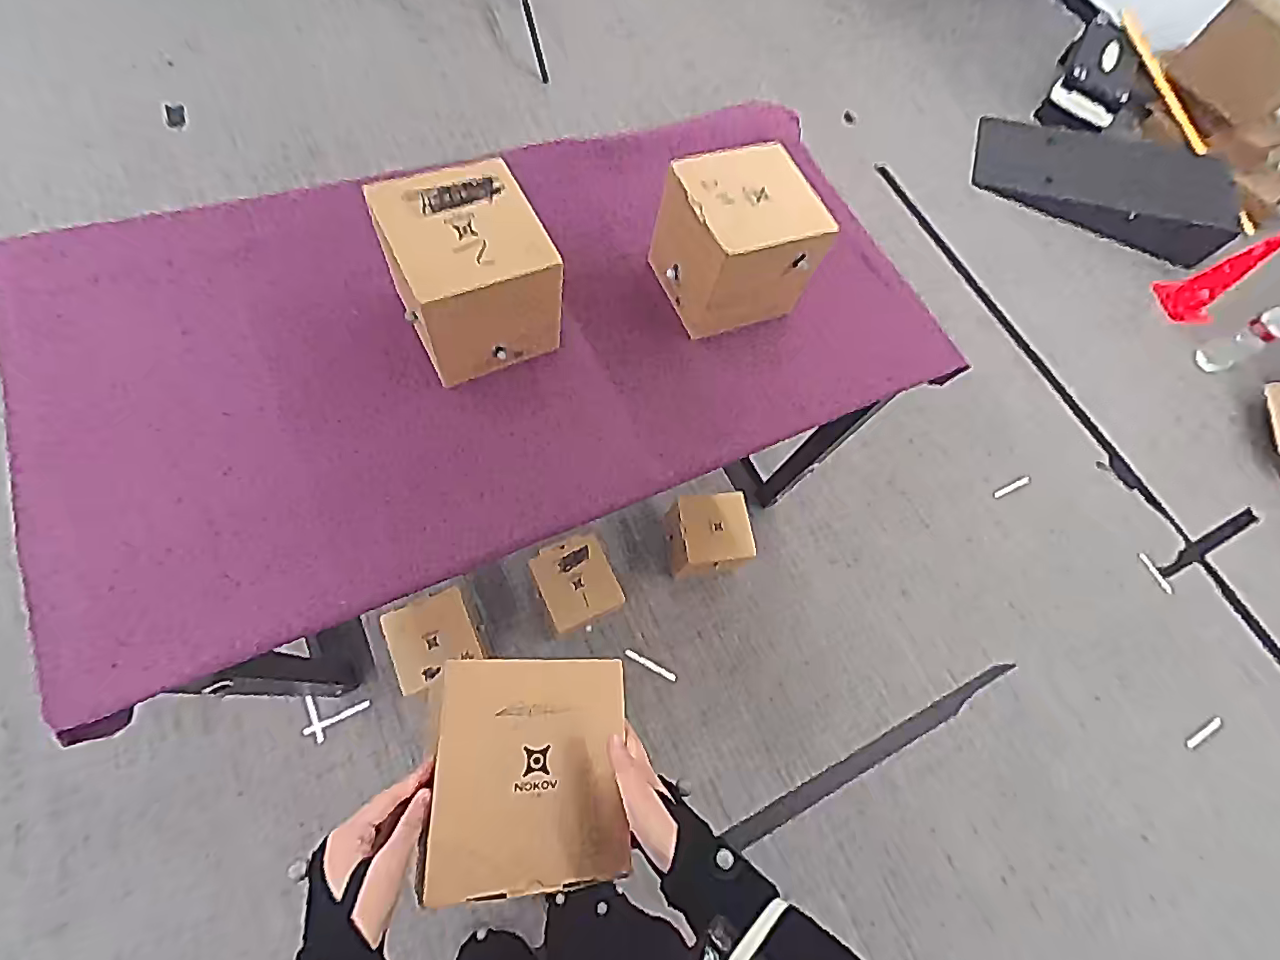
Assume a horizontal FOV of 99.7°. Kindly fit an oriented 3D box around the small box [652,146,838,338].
[{"bbox_3d":[0.136,-0.332,0.769,0.179,0.176,0.168,-20,71,-16],"label":"small box"}]

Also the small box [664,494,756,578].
[{"bbox_3d":[0.172,0.146,1.377,0.179,0.176,0.168,-5,69,-11],"label":"small box"}]

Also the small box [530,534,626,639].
[{"bbox_3d":[-0.152,0.256,1.274,0.168,0.176,0.179,-22,74,-17],"label":"small box"}]

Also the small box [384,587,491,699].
[{"bbox_3d":[-0.436,0.361,1.182,0.168,0.176,0.179,-20,71,-17],"label":"small box"}]
